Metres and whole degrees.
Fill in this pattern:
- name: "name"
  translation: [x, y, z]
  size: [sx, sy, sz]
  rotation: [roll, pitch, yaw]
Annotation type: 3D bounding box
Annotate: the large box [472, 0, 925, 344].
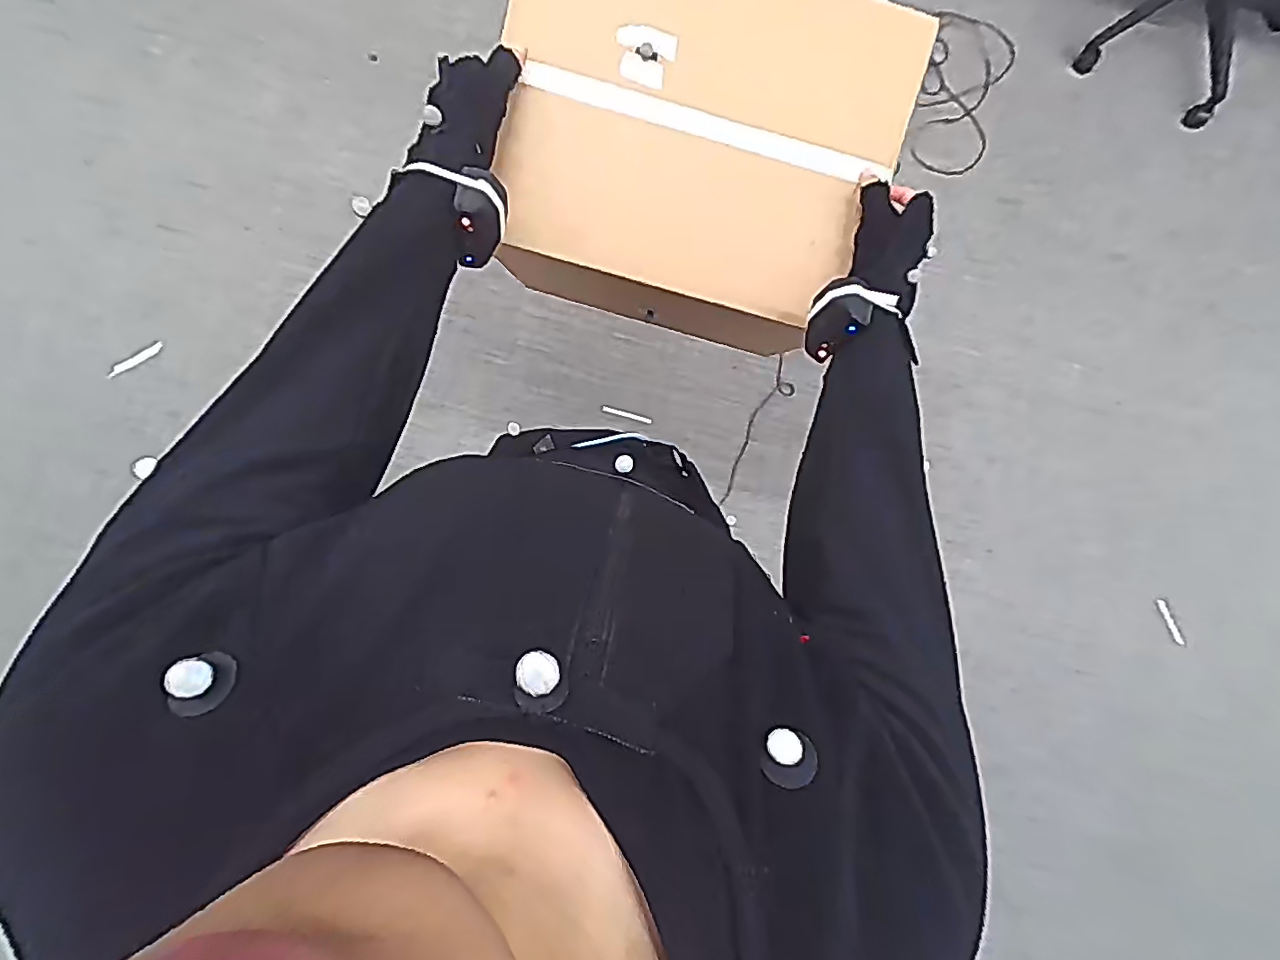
- name: "large box"
  translation: [0.055, -0.380, 0.691]
  size: [0.408, 0.320, 0.320]
  rotation: [15, 98, -3]
